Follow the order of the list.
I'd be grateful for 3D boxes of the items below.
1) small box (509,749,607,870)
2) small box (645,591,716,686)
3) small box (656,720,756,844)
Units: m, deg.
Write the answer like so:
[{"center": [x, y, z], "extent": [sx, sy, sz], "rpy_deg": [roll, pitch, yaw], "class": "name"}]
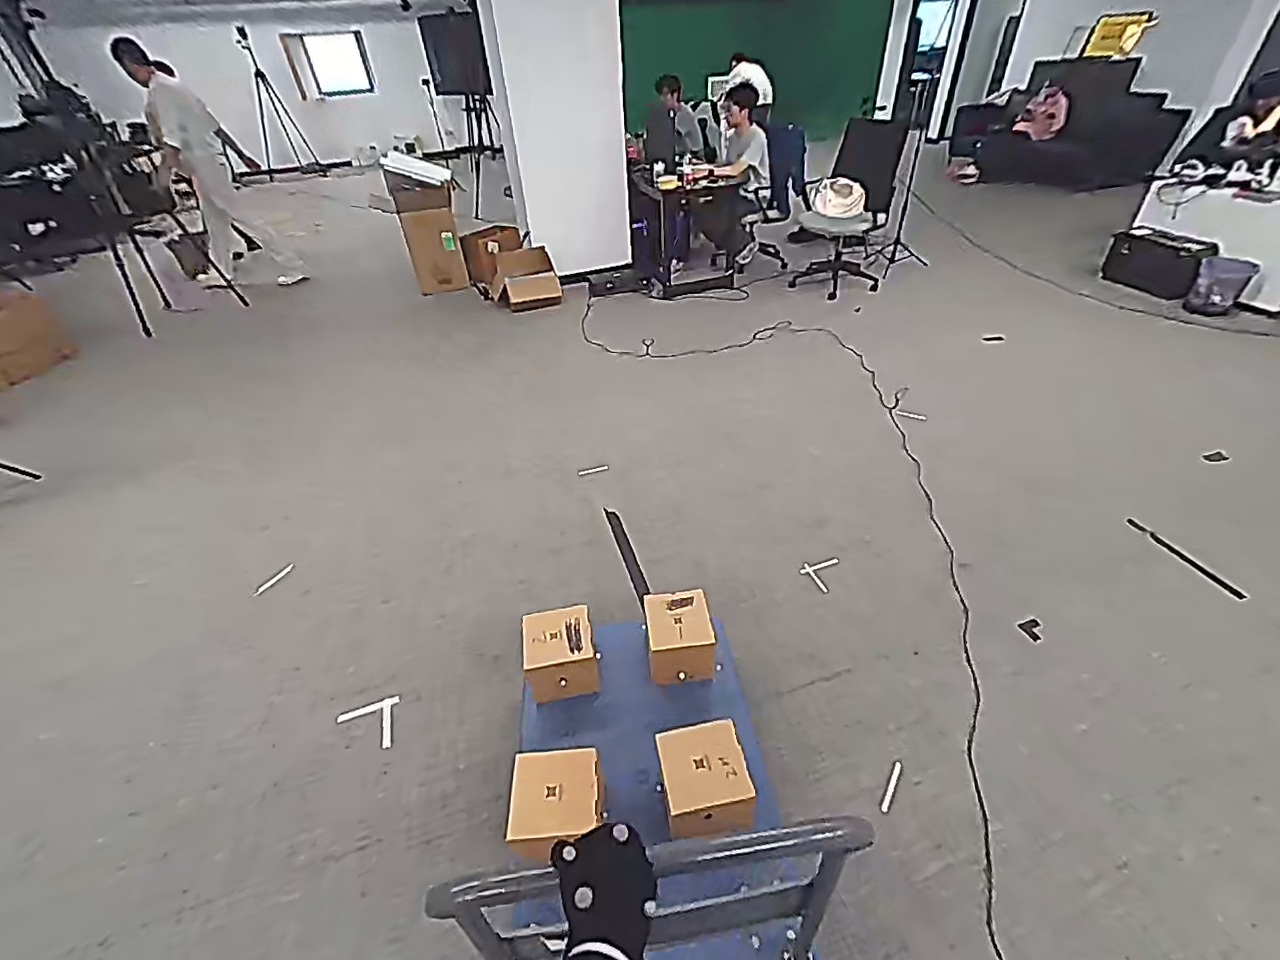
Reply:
[{"center": [-0.166, 0.699, 1.145], "extent": [0.179, 0.176, 0.168], "rpy_deg": [-4, 38, -2], "class": "small box"}, {"center": [0.105, 0.428, 1.460], "extent": [0.168, 0.176, 0.179], "rpy_deg": [-6, 40, -3], "class": "small box"}, {"center": [0.140, 0.655, 1.170], "extent": [0.179, 0.176, 0.168], "rpy_deg": [-9, 39, -6], "class": "small box"}]
